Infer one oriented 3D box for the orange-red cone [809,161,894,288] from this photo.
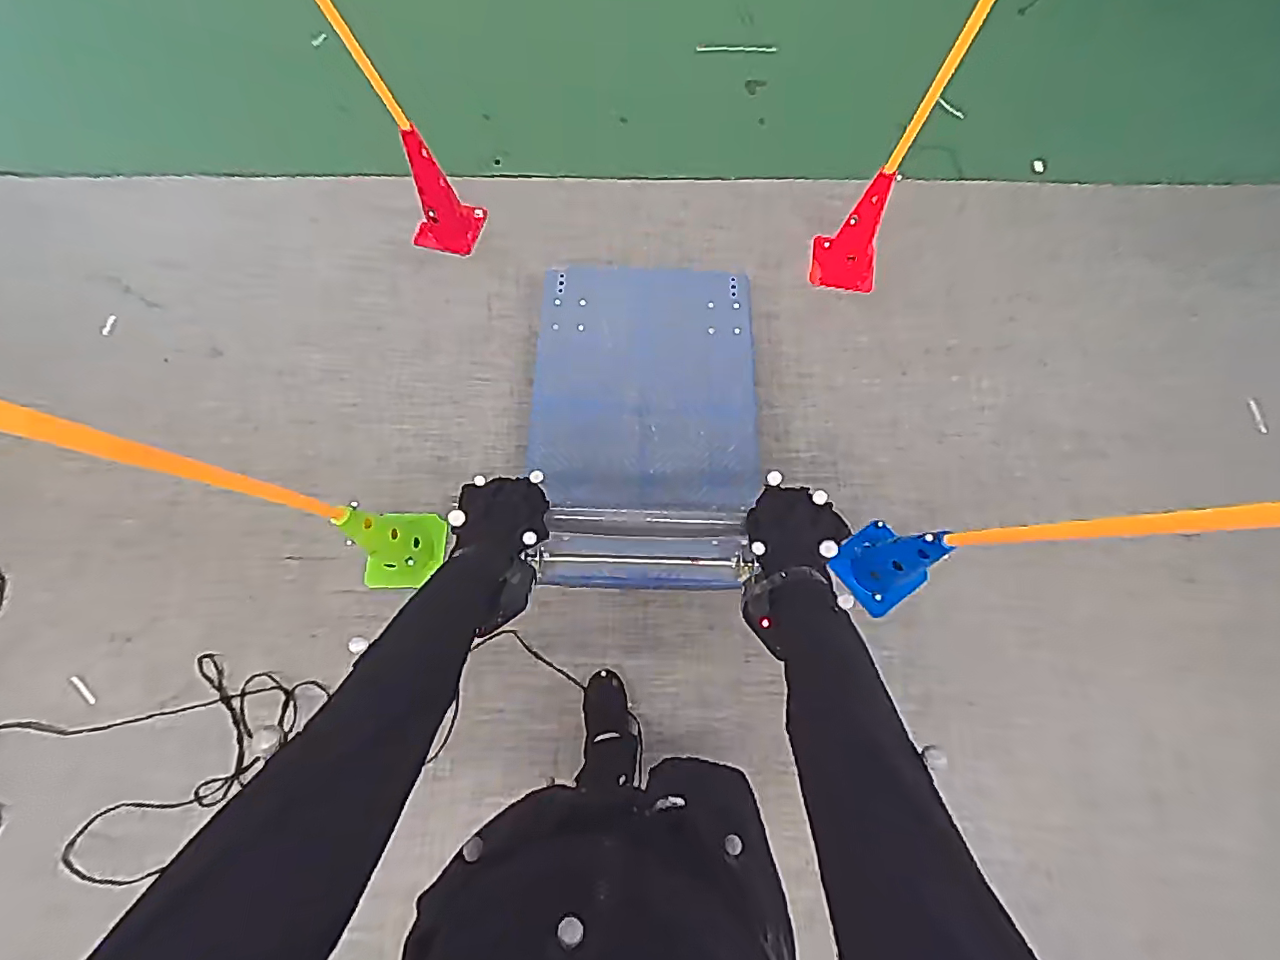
[{"bbox_3d":[0.650,-0.763,1.579,0.198,0.360,0.199,11,73,4],"label":"orange-red cone"}]
